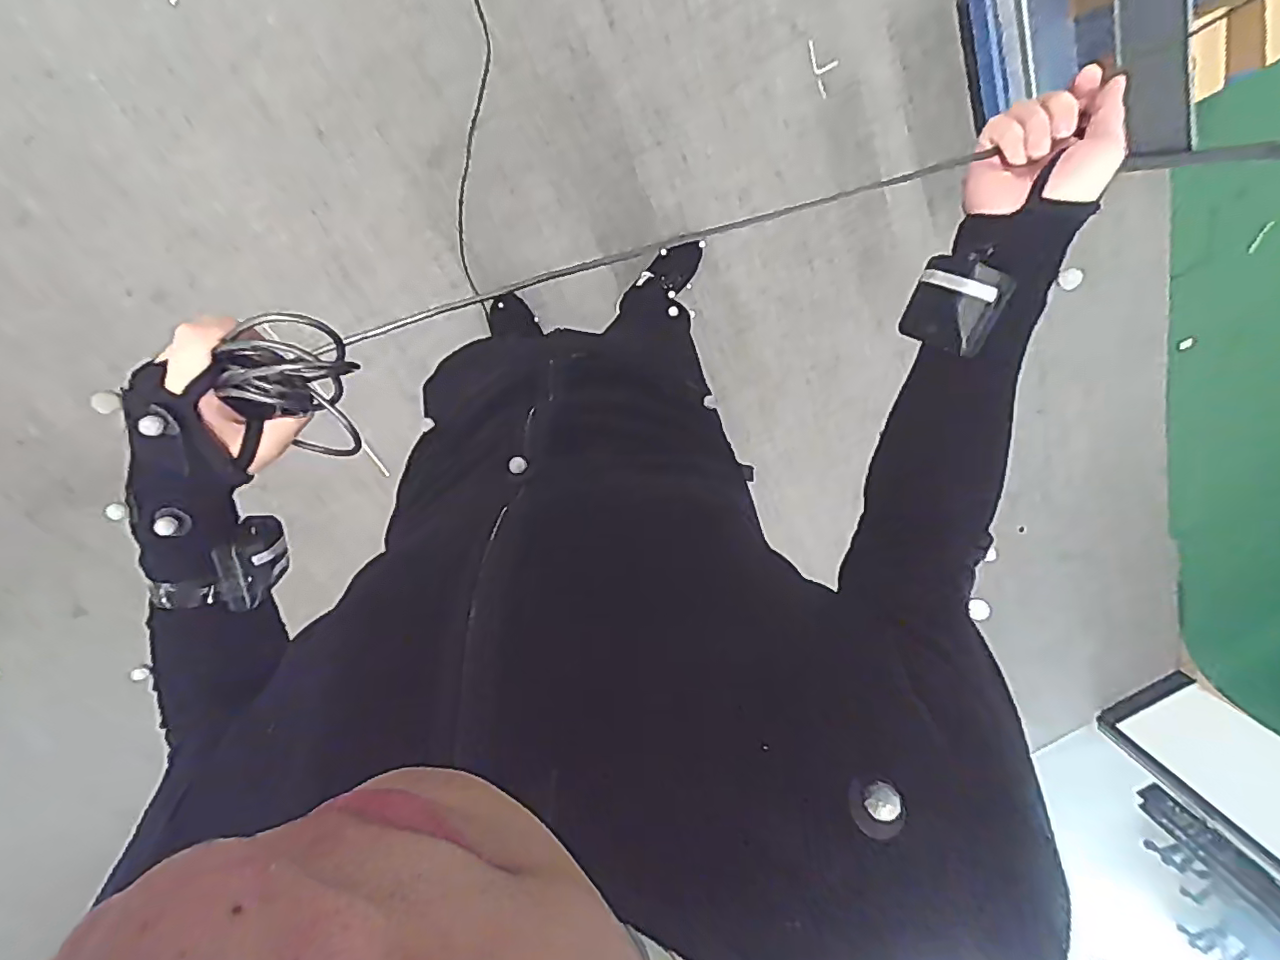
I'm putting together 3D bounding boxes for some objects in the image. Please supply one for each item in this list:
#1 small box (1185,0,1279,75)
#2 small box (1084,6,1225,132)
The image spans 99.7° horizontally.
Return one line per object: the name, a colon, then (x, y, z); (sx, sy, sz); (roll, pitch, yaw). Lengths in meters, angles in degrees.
small box: (1.436, -1.081, 1.263); (0.179, 0.176, 0.168); (-31, 115, 4)
small box: (1.198, -0.954, 1.271); (0.179, 0.176, 0.168); (-27, 116, 2)
